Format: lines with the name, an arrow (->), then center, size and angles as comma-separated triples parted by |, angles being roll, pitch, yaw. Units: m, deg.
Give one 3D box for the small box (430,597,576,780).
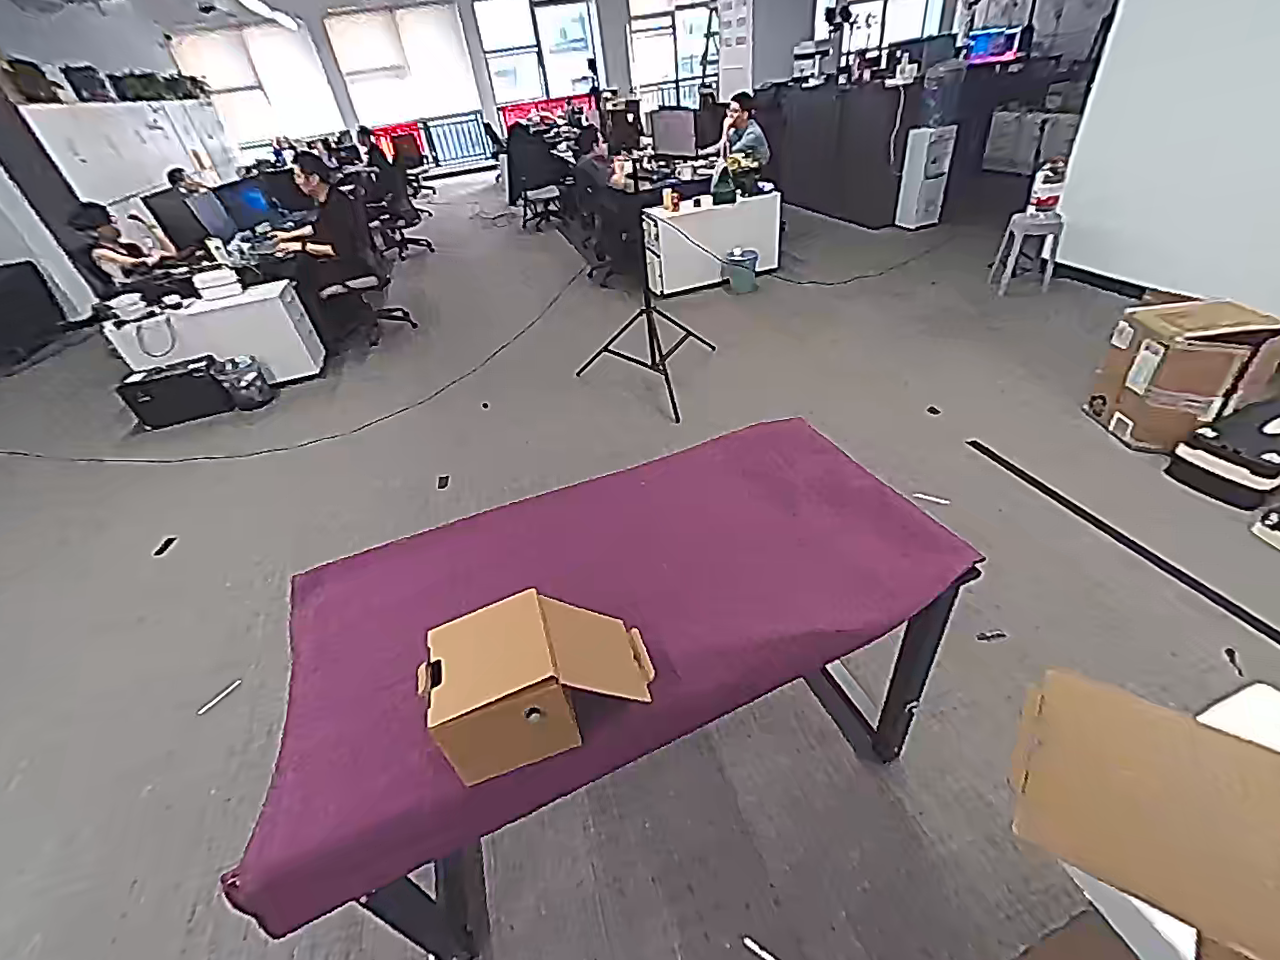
small box -> -0.201, 0.314, 0.818 | 0.179, 0.176, 0.168 | -16, 37, -10
